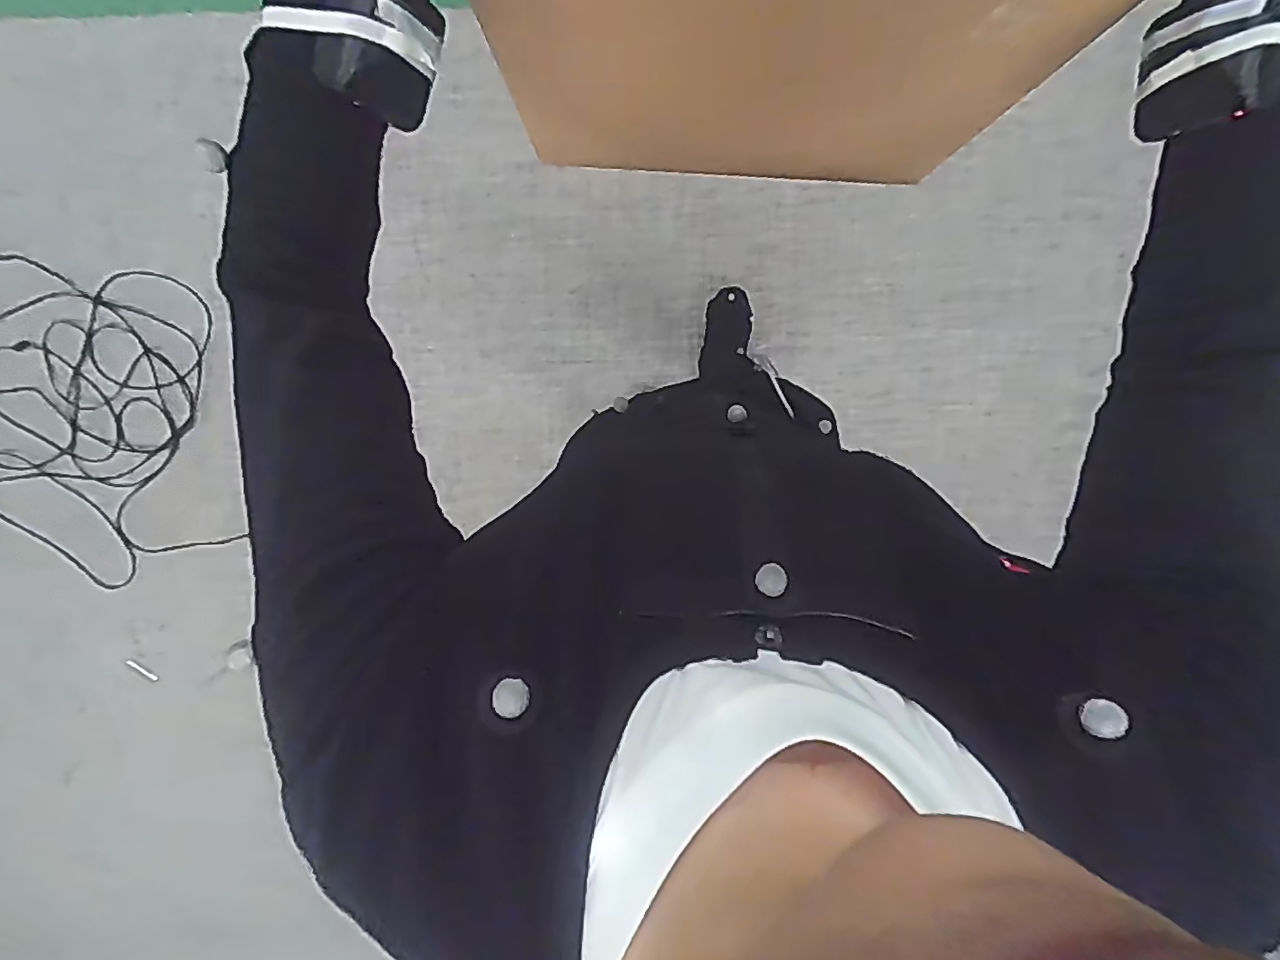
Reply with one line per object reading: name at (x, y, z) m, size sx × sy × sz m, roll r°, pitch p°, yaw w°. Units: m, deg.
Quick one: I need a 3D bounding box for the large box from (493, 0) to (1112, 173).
large box at (0.102, -0.463, 0.413) m, size 0.408 × 0.320 × 0.320 m, roll 2°, pitch 99°, yaw -1°
